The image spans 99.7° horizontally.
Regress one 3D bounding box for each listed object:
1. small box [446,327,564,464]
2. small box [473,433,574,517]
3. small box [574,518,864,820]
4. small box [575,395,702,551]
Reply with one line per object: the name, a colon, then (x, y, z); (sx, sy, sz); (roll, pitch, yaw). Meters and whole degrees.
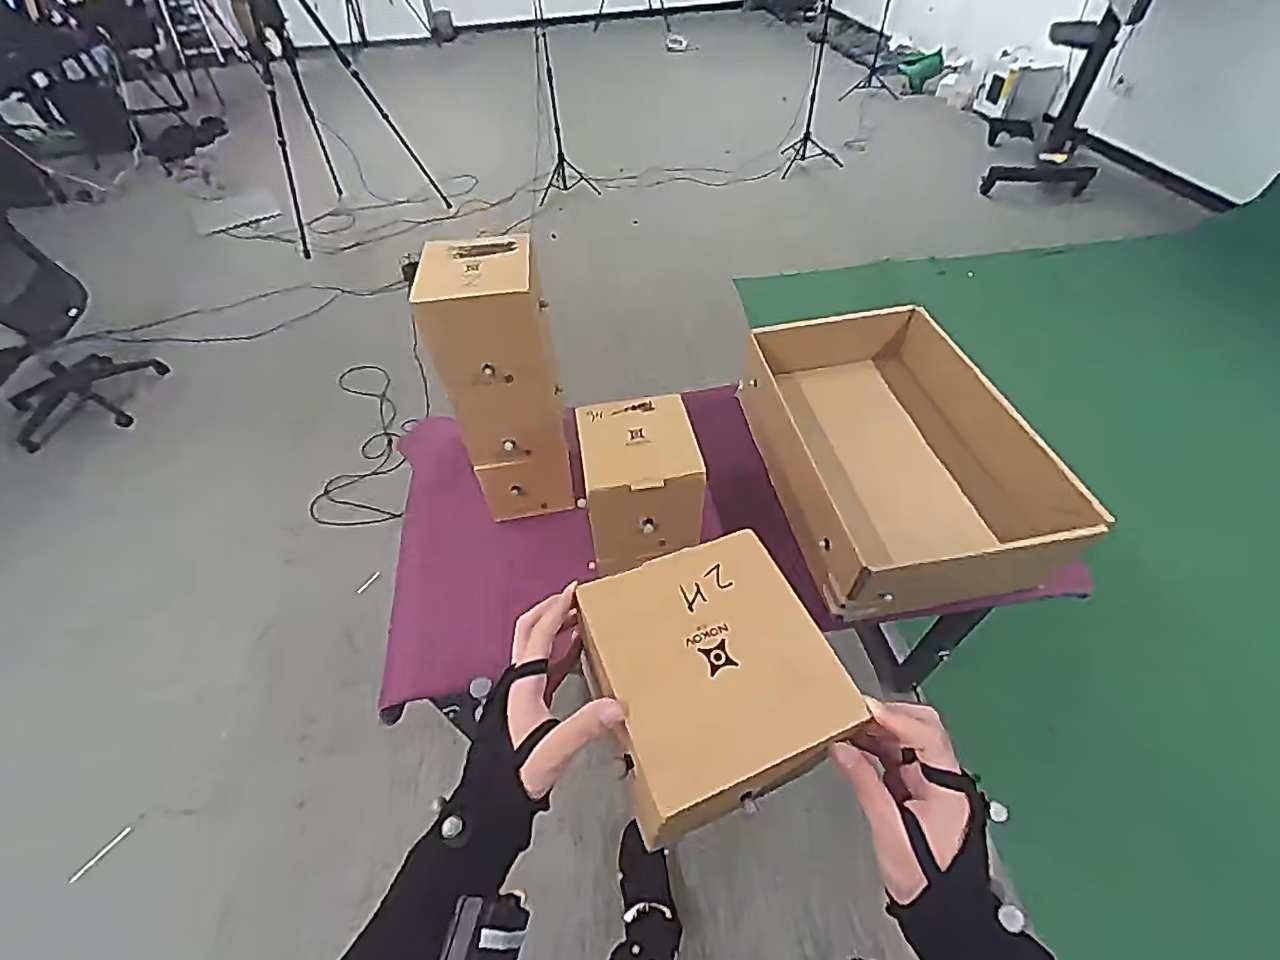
small box: (-0.232, -0.151, 0.974); (0.168, 0.176, 0.179); (-6, 50, -2)
small box: (-0.232, -0.040, 1.096); (0.168, 0.176, 0.179); (-10, 49, -5)
small box: (0.050, 0.167, 0.467); (0.168, 0.176, 0.179); (-16, 52, -16)
small box: (-0.004, -0.004, 0.834); (0.168, 0.176, 0.179); (-8, 49, -5)
